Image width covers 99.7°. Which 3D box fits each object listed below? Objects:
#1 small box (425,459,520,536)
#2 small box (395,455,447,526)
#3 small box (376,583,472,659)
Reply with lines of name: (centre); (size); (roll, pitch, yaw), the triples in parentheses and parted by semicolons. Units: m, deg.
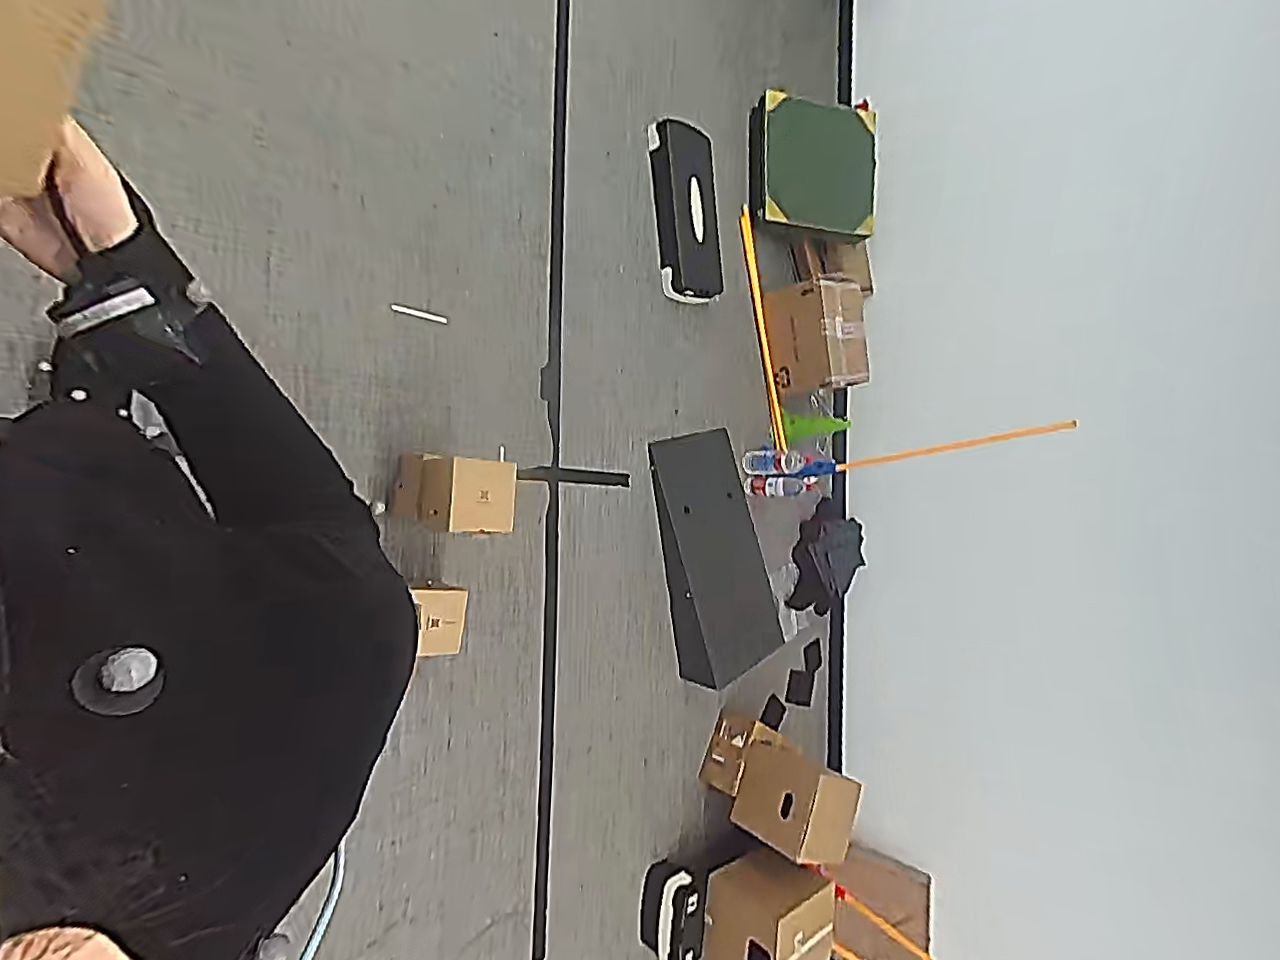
small box: (-0.415, 0.044, 1.333); (0.168, 0.176, 0.179); (6, 85, -43)
small box: (-0.536, 0.034, 1.444); (0.168, 0.176, 0.179); (12, 83, -43)
small box: (-0.568, 0.364, 1.413); (0.179, 0.176, 0.168); (12, 82, -43)
